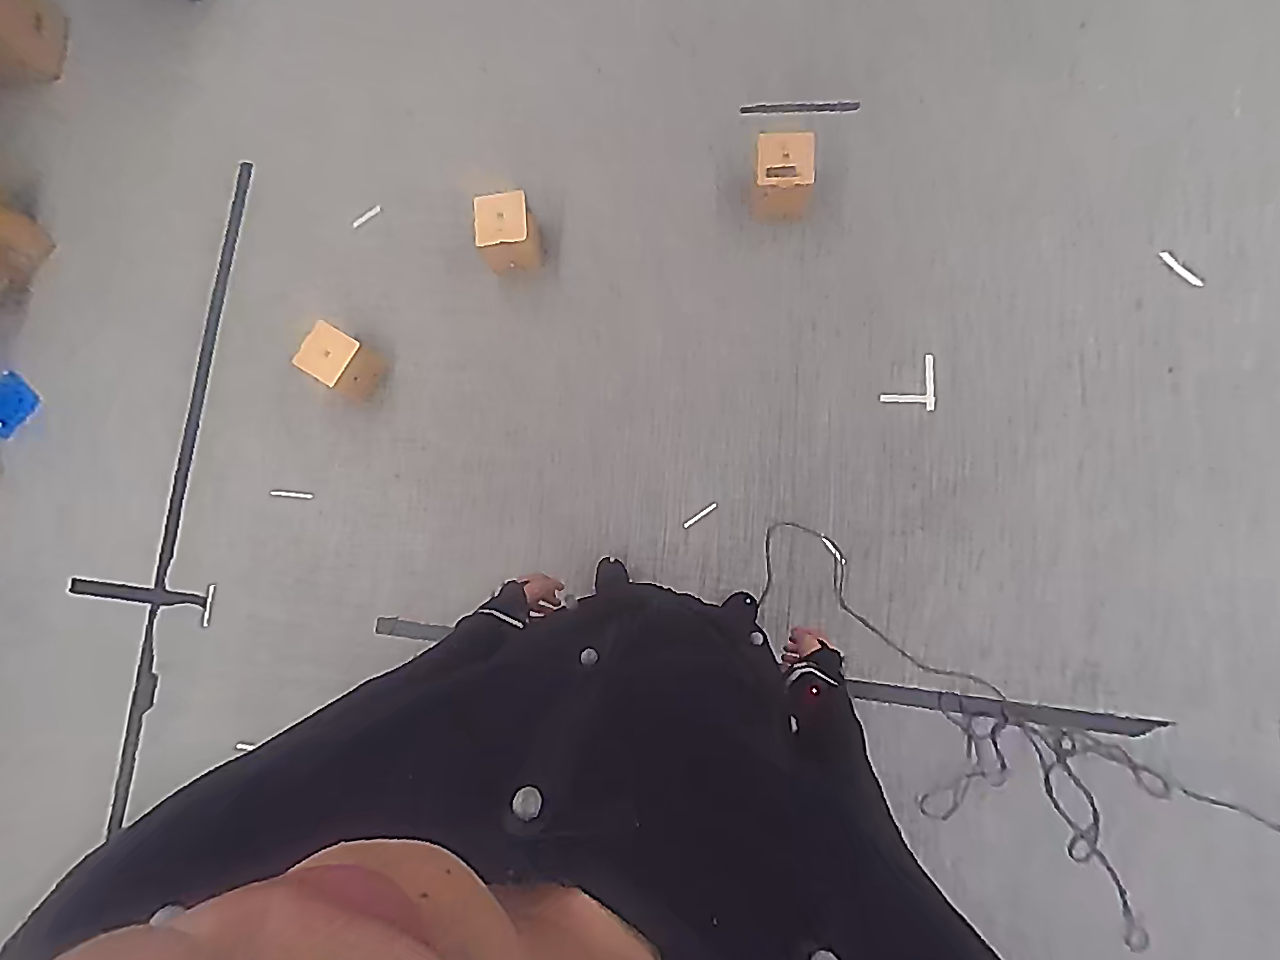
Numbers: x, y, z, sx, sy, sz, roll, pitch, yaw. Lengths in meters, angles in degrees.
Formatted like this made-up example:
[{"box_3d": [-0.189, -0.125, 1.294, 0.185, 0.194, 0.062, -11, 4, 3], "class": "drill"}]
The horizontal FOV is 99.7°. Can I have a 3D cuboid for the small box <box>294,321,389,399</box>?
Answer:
[{"box_3d": [-0.964, -0.381, 1.763, 0.179, 0.176, 0.168, 30, 86, 10], "class": "small box"}]

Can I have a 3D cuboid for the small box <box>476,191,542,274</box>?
[{"box_3d": [-0.424, -0.803, 1.764, 0.168, 0.176, 0.179, -5, 81, 5], "class": "small box"}]
